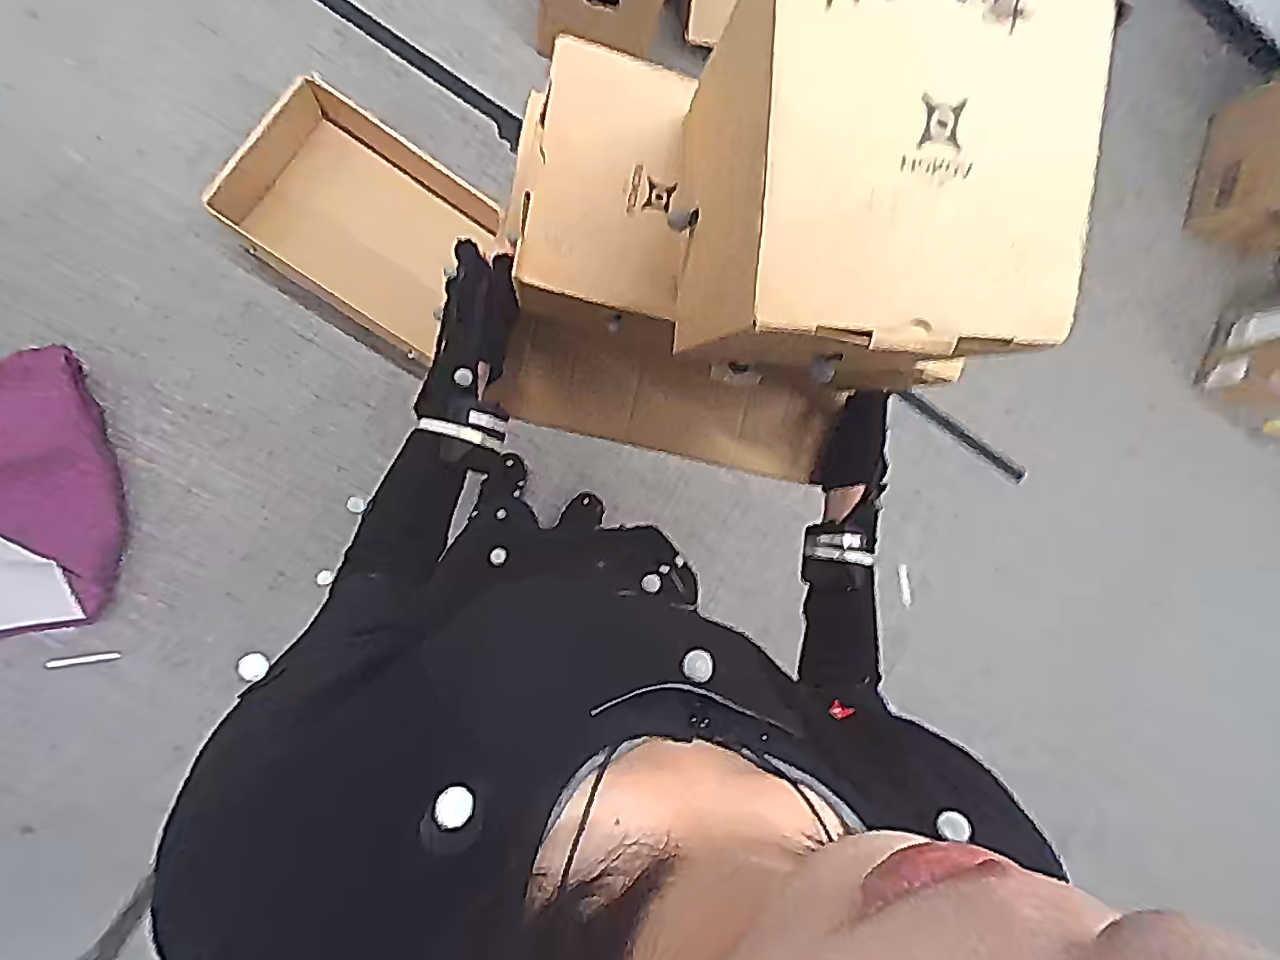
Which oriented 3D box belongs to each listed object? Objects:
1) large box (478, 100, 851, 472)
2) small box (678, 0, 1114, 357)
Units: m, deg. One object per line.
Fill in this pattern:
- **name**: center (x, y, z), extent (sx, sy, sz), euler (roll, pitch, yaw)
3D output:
- **large box**: center (0.024, -0.209, 0.721), extent (0.408, 0.320, 0.320), euler (11, 96, -12)
- **small box**: center (0.122, -0.171, 0.326), extent (0.168, 0.176, 0.179), euler (1, 98, -9)
